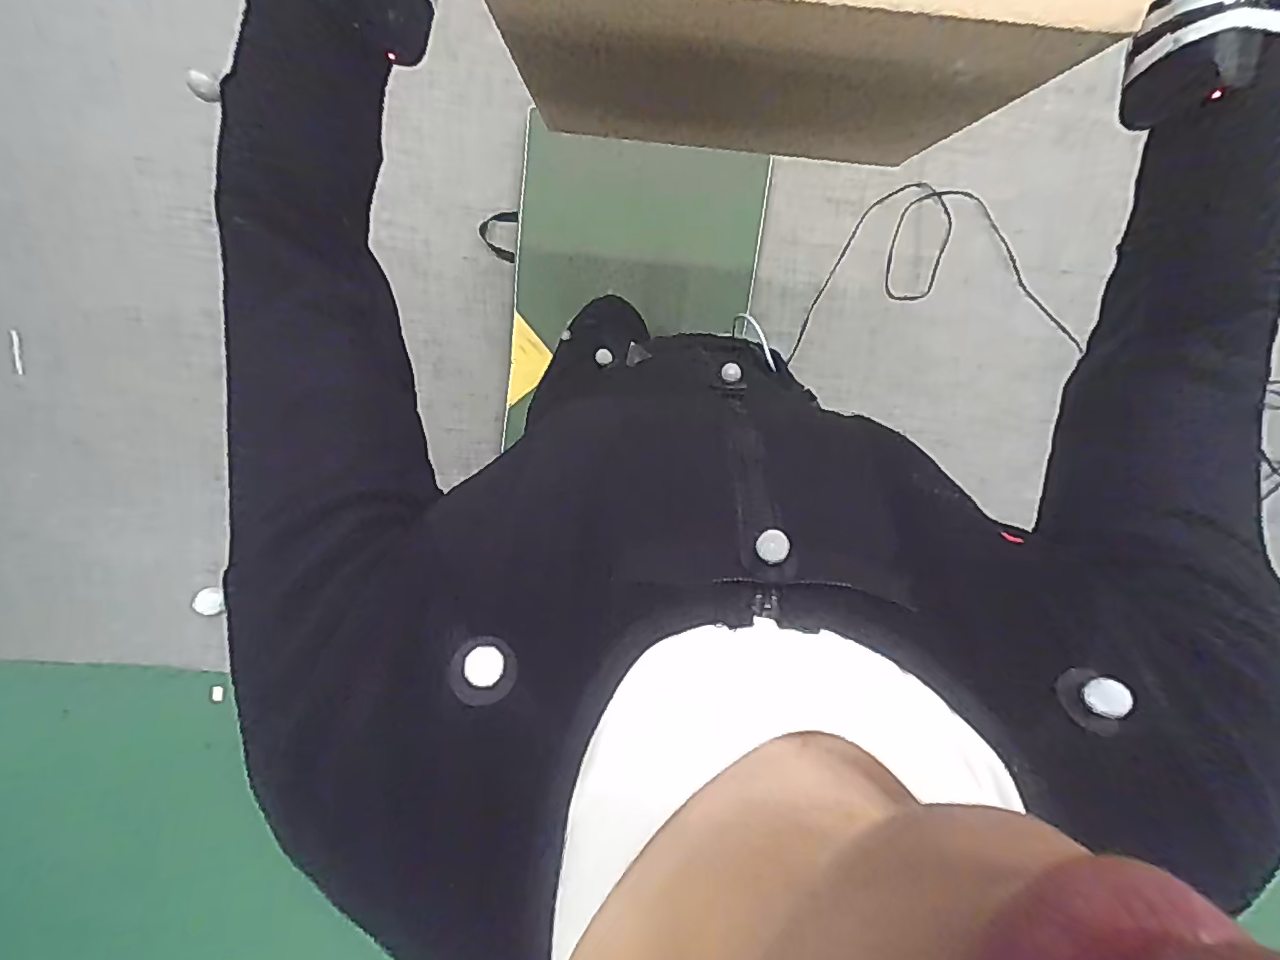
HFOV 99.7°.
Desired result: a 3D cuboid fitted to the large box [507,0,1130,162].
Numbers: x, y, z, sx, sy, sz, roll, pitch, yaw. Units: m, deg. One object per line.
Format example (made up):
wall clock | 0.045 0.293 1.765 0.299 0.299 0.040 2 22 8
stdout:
large box | 0.112 -0.479 0.435 0.408 0.320 0.320 4 107 -3
